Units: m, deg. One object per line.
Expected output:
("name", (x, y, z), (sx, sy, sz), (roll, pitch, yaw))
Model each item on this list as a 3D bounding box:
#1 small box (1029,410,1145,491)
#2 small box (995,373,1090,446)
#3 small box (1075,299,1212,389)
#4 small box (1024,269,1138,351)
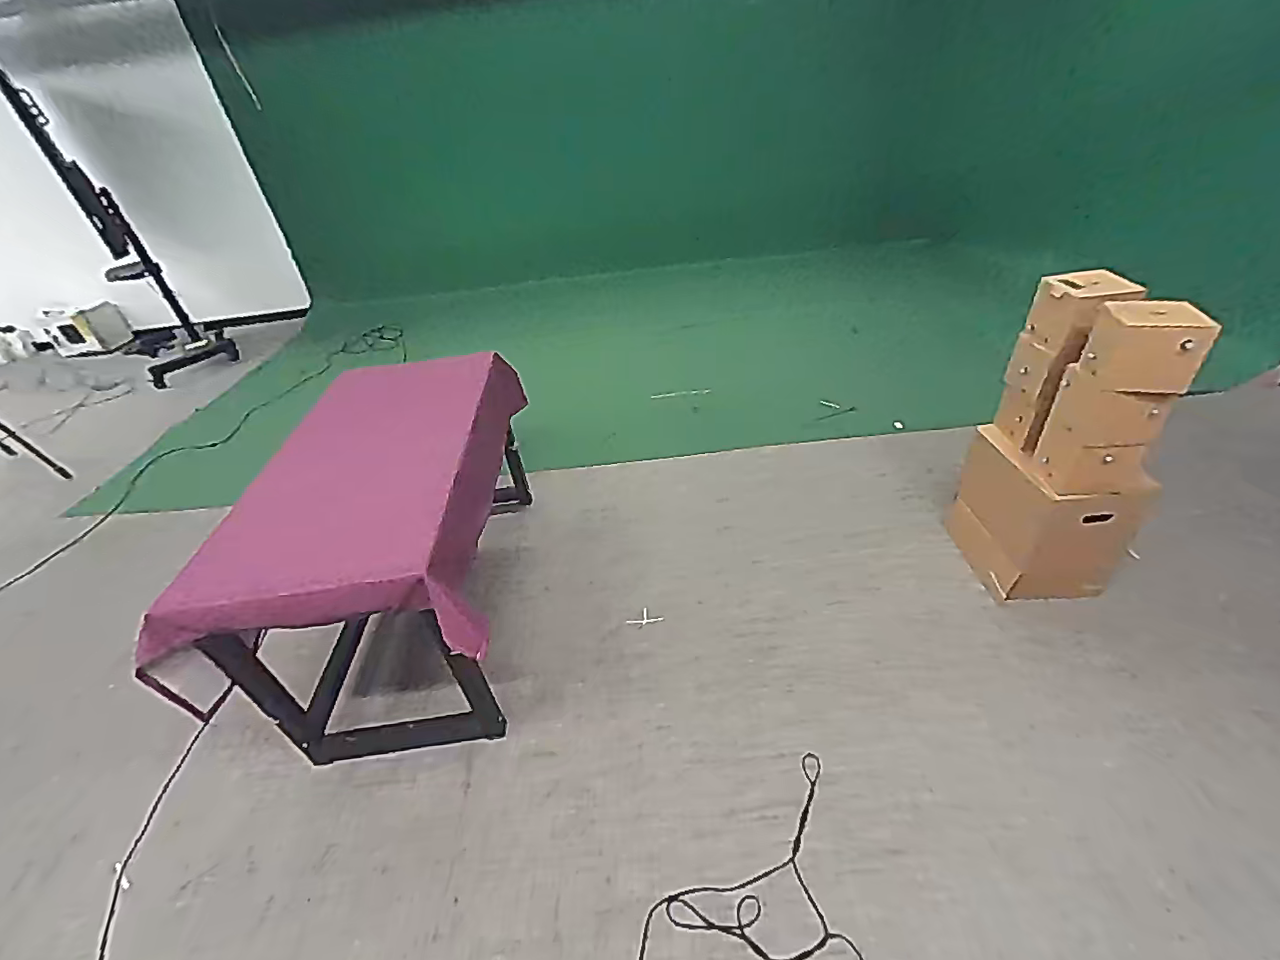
("small box", (1.263, -0.083, 1.543), (0.179, 0.176, 0.168), (-3, 36, 8))
("small box", (1.273, -0.223, 1.732), (0.179, 0.176, 0.168), (-6, 39, 4))
("small box", (1.227, -0.336, 1.335), (0.179, 0.176, 0.168), (5, 38, 17))
("small box", (1.229, -0.478, 1.531), (0.179, 0.176, 0.168), (-6, 39, 2))
